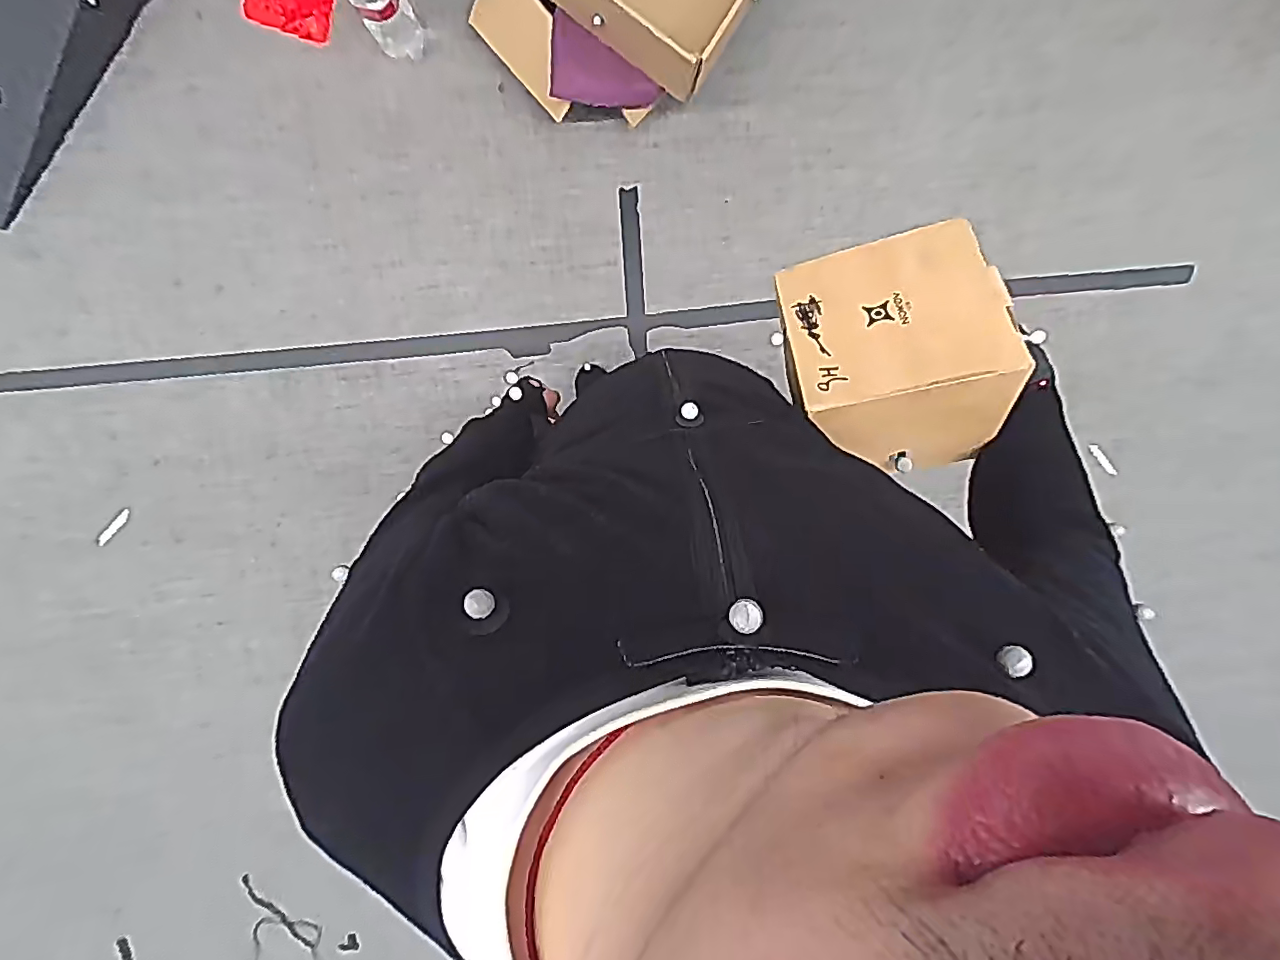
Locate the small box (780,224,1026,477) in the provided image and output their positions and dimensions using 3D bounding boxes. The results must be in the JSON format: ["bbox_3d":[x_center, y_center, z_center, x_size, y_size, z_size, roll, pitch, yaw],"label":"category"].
[{"bbox_3d":[0.249,-0.119,0.558,0.179,0.176,0.168,-11,63,15],"label":"small box"}]
